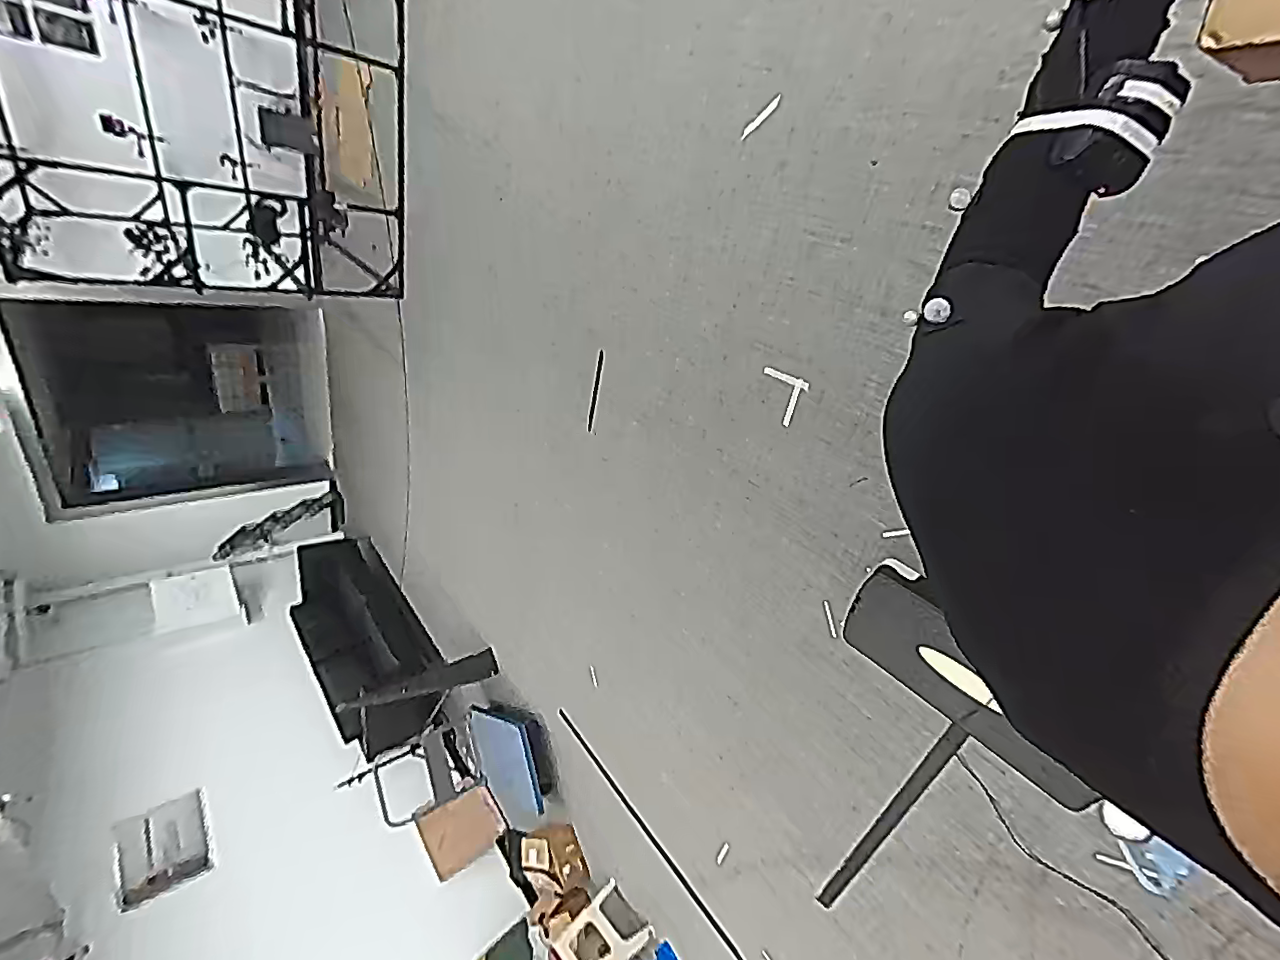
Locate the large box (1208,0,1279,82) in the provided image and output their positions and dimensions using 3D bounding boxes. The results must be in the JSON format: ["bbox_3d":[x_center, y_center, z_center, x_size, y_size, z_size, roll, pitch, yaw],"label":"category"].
[{"bbox_3d":[0.597,-0.410,0.238,0.408,0.320,0.320,24,129,42],"label":"large box"}]
